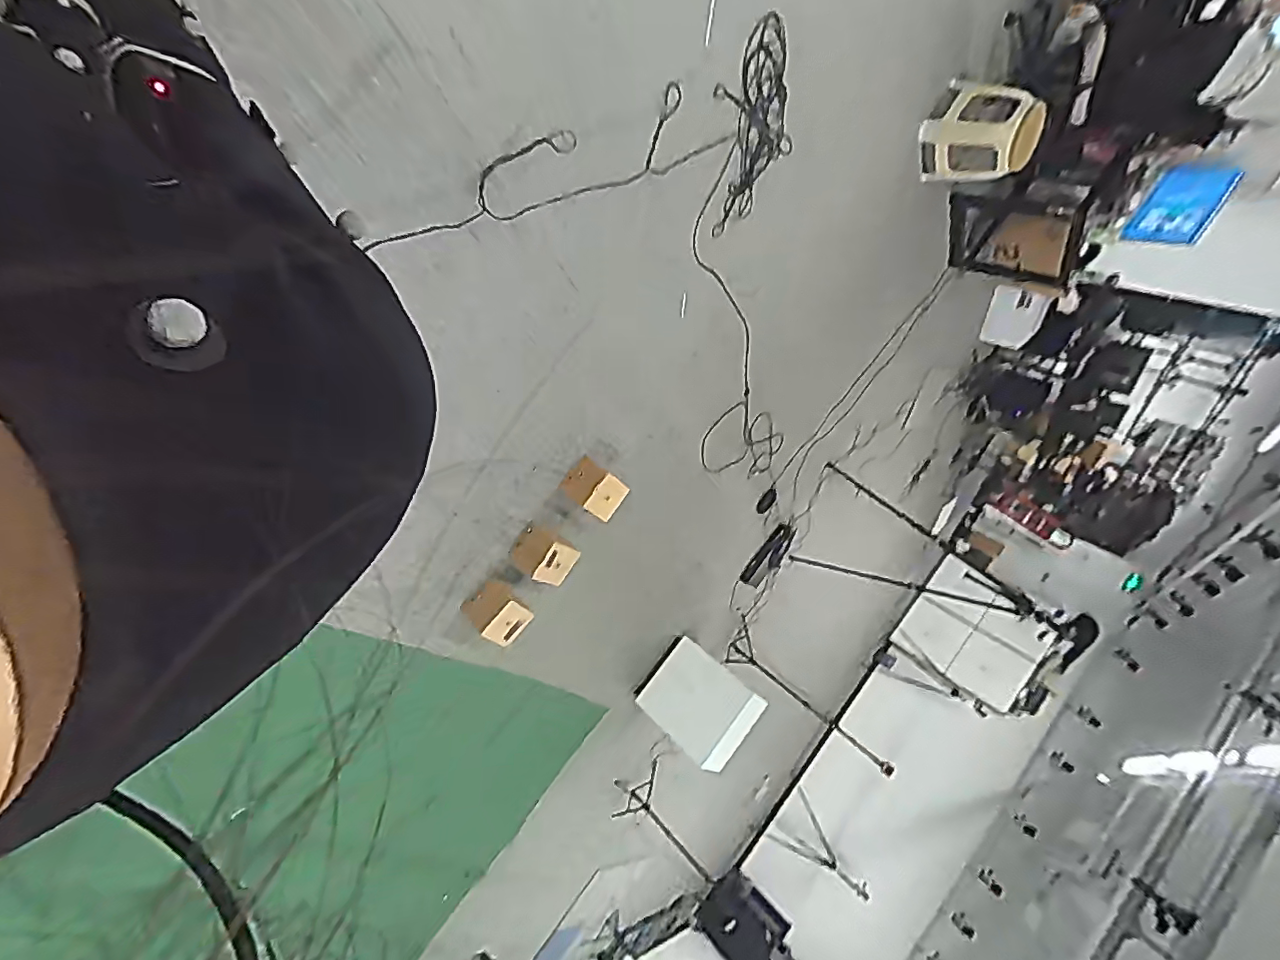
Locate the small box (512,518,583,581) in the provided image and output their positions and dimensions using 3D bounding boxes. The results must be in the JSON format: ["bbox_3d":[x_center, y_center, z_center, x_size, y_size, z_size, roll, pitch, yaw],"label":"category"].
[{"bbox_3d":[-0.366,0.268,2.122,0.168,0.176,0.179,-56,144,0],"label":"small box"}]

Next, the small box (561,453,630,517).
[{"bbox_3d":[-0.176,0.015,2.147,0.168,0.176,0.179,-54,142,-4],"label":"small box"}]
